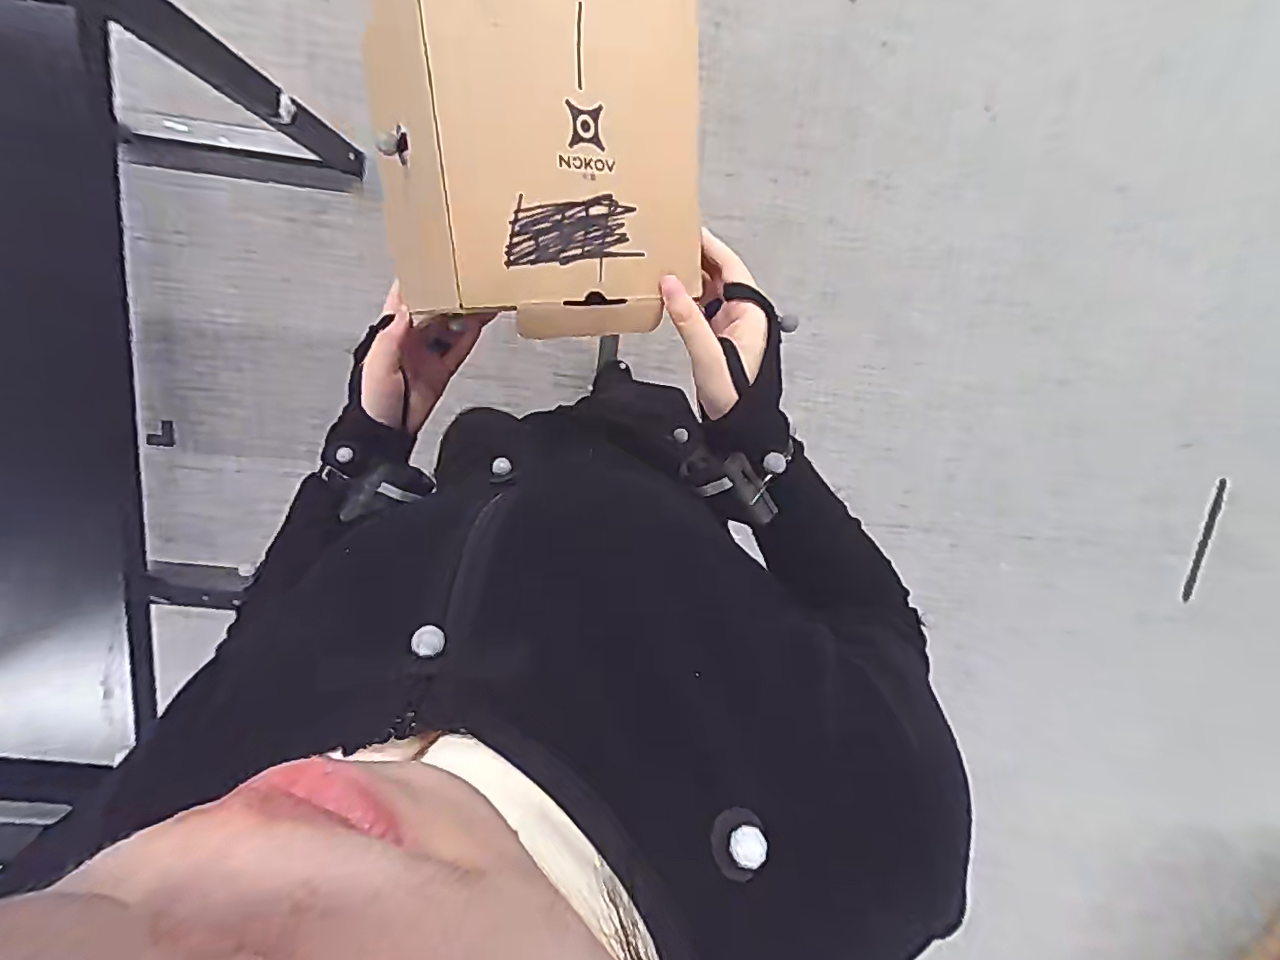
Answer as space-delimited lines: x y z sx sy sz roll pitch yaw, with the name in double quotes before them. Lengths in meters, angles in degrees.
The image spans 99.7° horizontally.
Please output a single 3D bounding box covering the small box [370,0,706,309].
"small box" -0.072 -0.208 0.365 0.168 0.176 0.179 -12 109 -30
